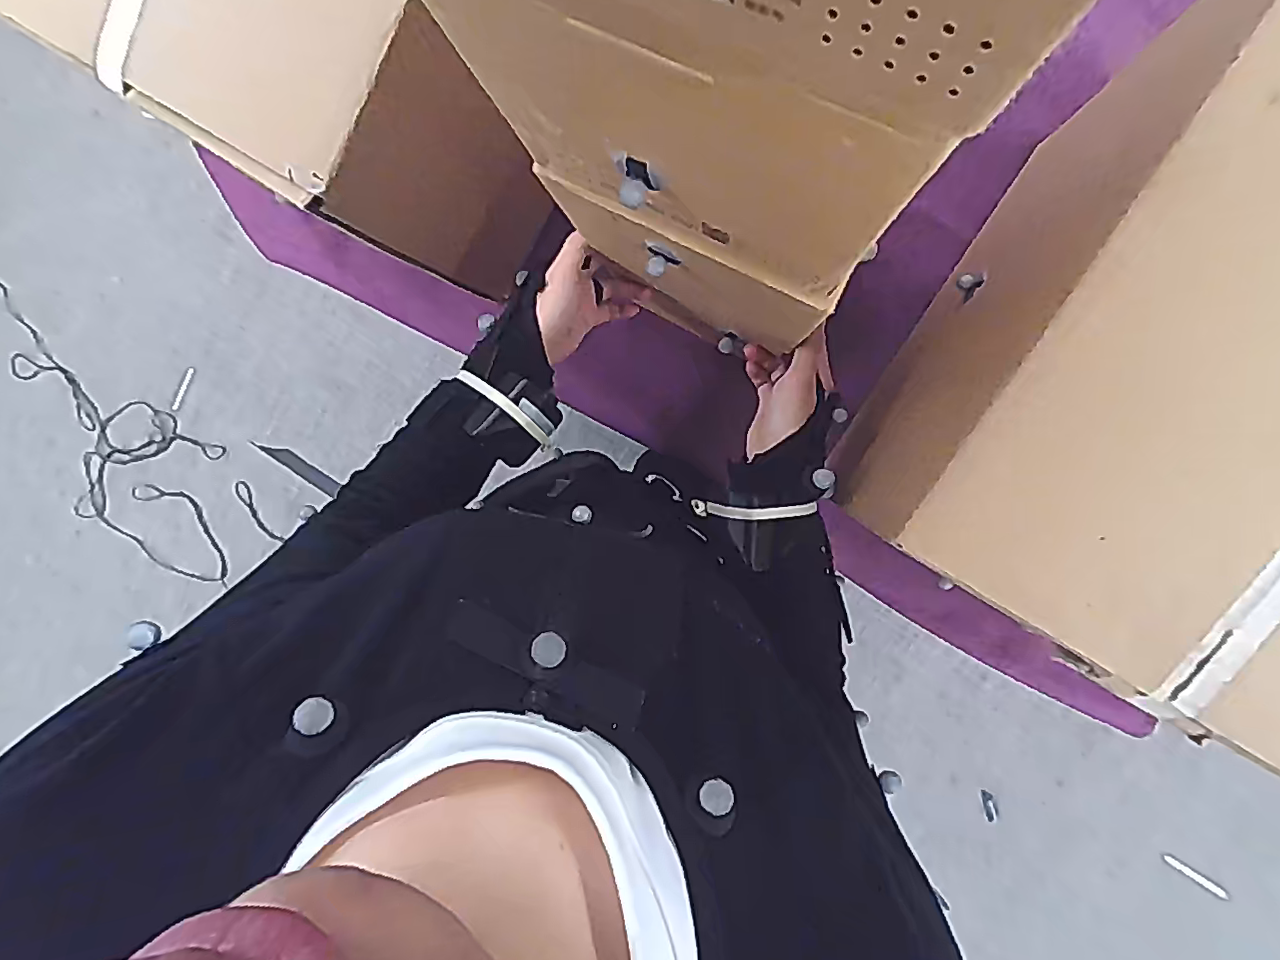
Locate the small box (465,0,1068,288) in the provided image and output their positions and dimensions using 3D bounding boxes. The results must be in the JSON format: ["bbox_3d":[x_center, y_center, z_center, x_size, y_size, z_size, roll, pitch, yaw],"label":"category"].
[{"bbox_3d":[0.047,-0.191,0.176,0.168,0.176,0.179,27,100,5],"label":"small box"}]

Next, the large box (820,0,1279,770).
[{"bbox_3d":[0.391,-0.065,0.398,0.320,0.320,0.408,31,98,4],"label":"large box"}]
